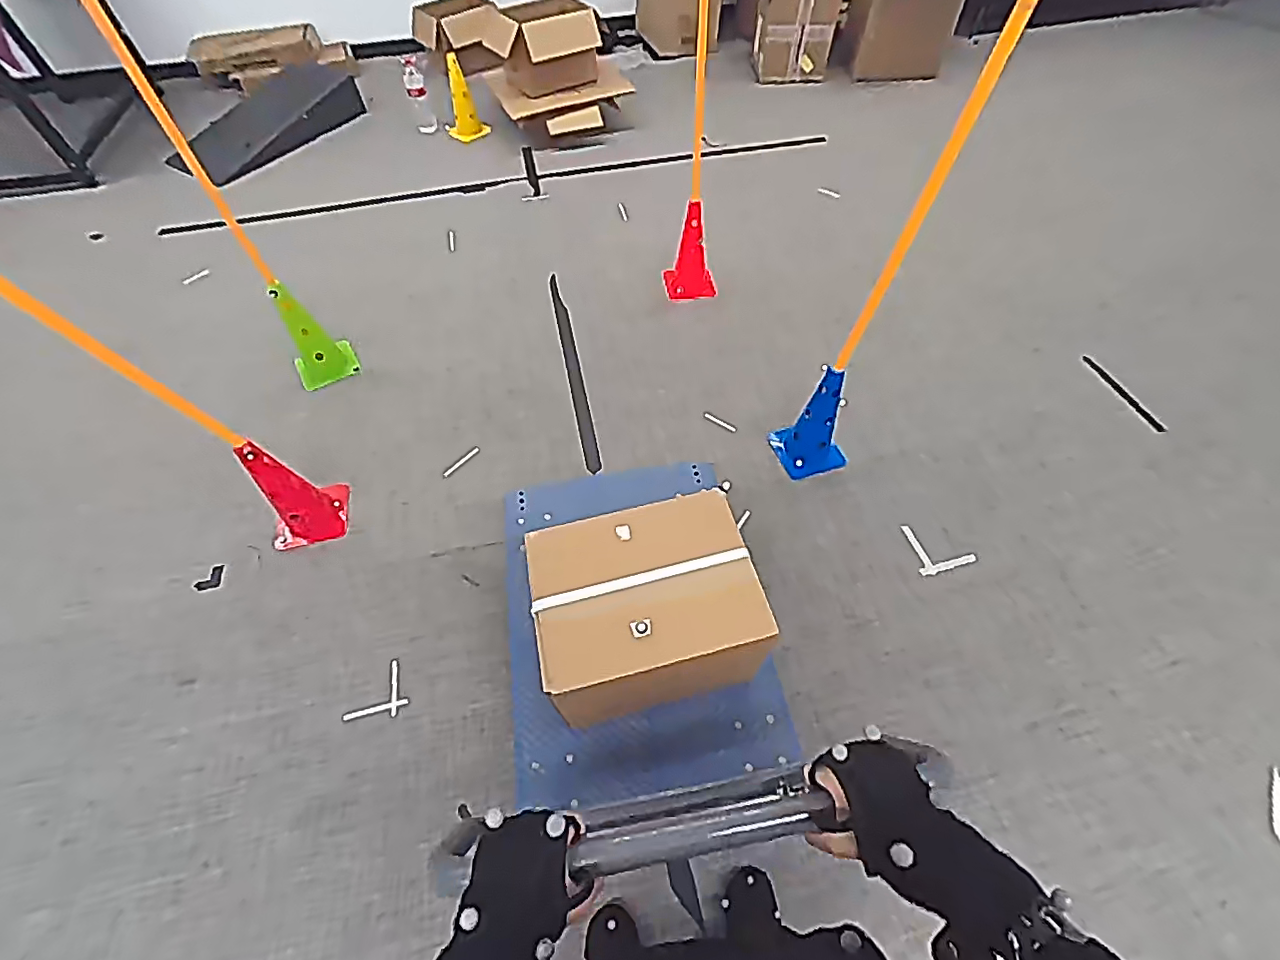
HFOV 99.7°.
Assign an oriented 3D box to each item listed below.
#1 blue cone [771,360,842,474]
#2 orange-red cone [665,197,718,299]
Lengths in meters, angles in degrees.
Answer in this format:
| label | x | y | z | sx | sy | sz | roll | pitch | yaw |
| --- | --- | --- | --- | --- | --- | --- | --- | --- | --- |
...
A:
| label | x | y | z | sx | sy | sz | roll | pitch | yaw |
| --- | --- | --- | --- | --- | --- | --- | --- | --- | --- |
| blue cone | 0.537 | -0.200 | 1.617 | 0.193 | 0.380 | 0.192 | -15 | 56 | -9 |
| orange-red cone | 0.209 | -0.909 | 2.086 | 0.199 | 0.360 | 0.198 | -5 | 57 | -4 |
